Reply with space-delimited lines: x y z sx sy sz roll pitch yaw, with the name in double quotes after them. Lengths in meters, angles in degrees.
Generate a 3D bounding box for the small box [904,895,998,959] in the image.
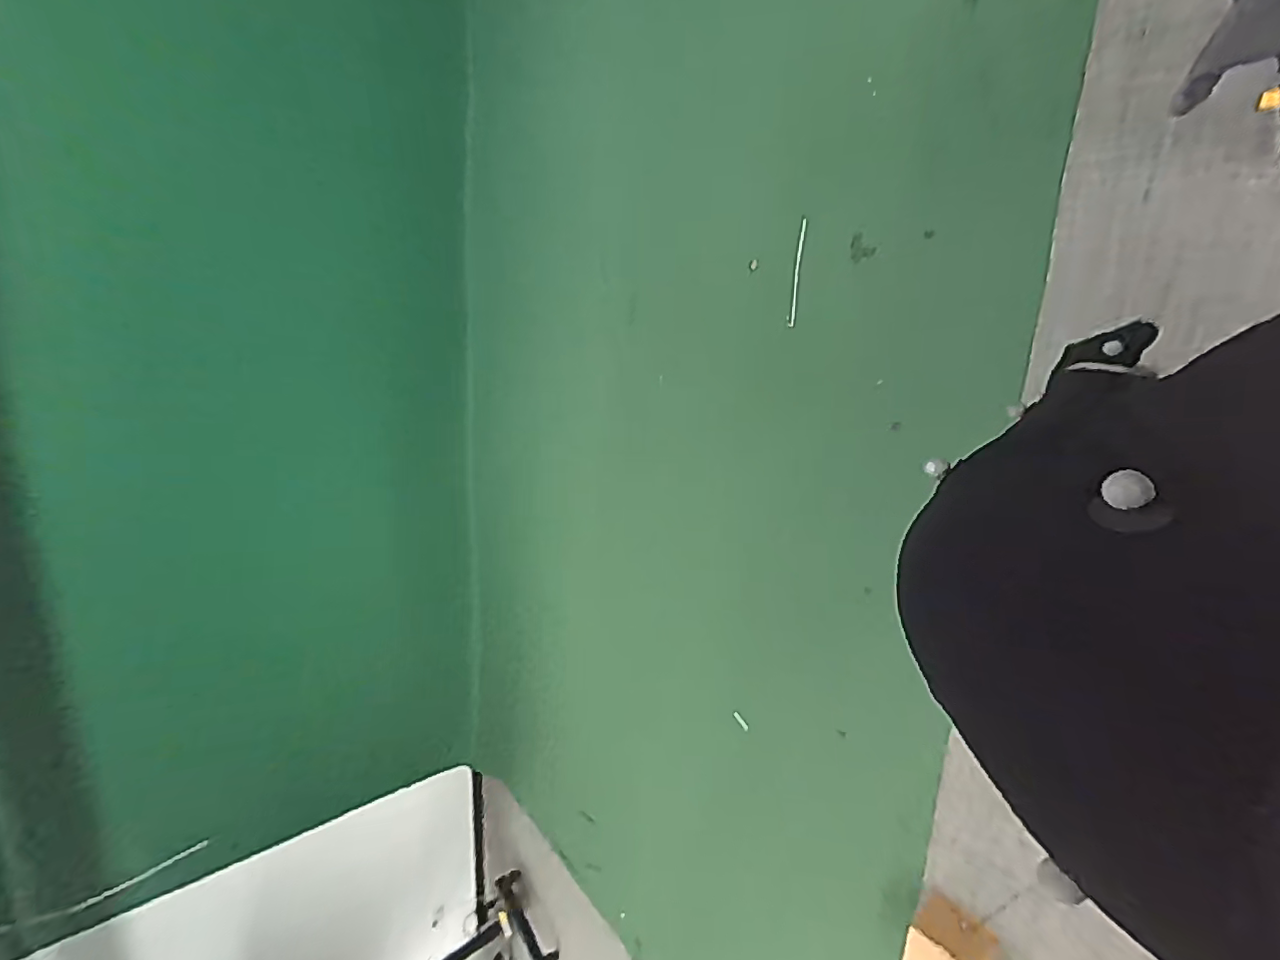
0.832 1.284 1.450 0.168 0.176 0.179 17 108 47 "small box"
